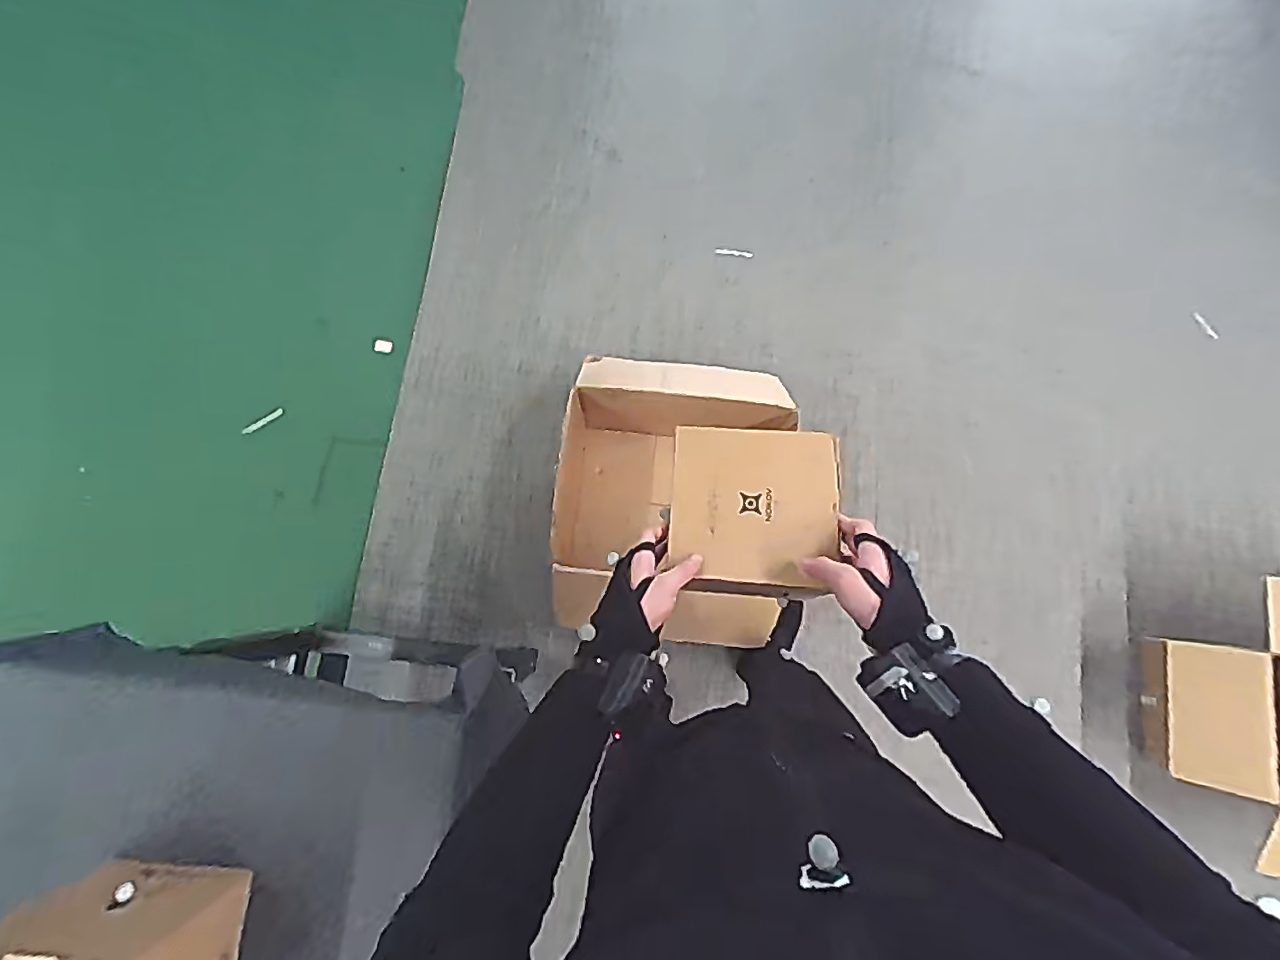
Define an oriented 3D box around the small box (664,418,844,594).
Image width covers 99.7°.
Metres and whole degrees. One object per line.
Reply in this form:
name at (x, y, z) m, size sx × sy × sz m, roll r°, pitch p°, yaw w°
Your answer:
small box at (0.122, 0.039, 0.622) m, size 0.179 × 0.176 × 0.168 m, roll 2°, pitch 74°, yaw 6°
